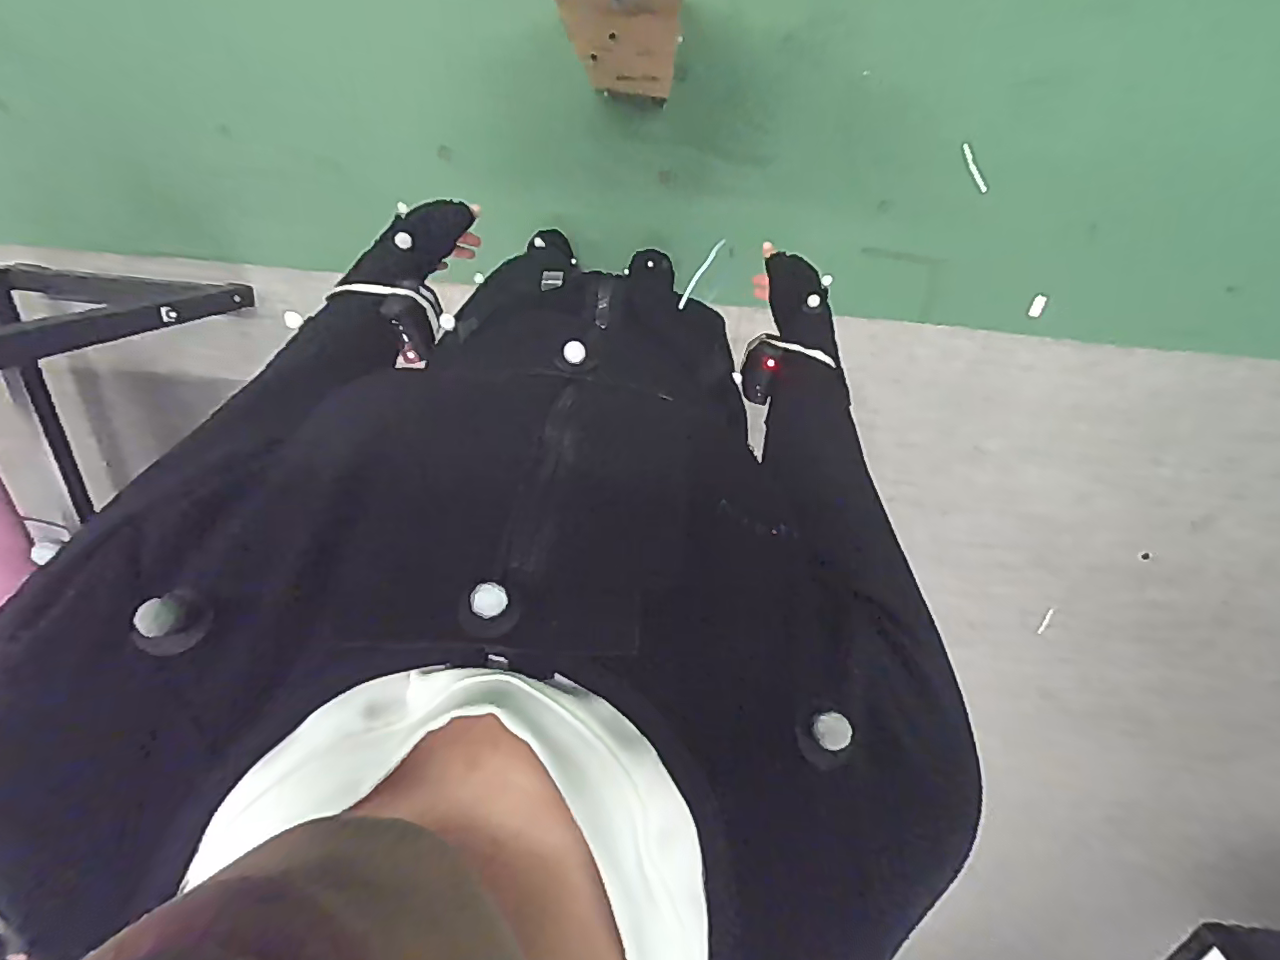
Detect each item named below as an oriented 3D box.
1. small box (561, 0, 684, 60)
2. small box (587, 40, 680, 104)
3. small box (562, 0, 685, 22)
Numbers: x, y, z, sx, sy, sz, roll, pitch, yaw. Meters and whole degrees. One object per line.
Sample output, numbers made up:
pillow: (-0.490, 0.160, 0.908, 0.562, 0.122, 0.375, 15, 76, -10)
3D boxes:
small box: (-0.019, -0.725, 0.758, 0.168, 0.176, 0.179, 3, 115, 0)
small box: (-0.006, -0.859, 1.057, 0.168, 0.176, 0.179, 6, 115, -2)
small box: (-0.022, -0.658, 0.609, 0.168, 0.176, 0.179, 2, 116, 0)
